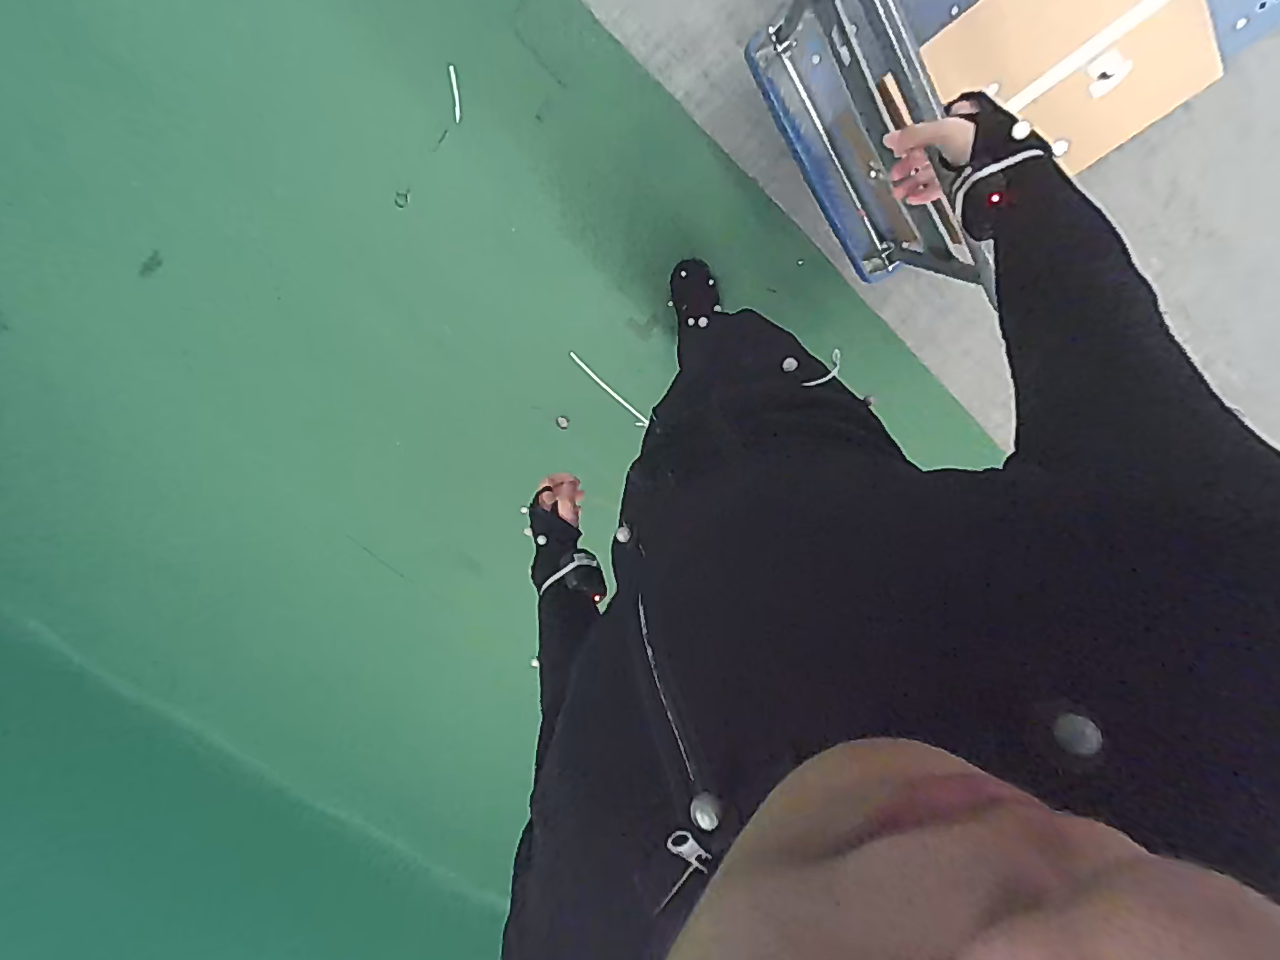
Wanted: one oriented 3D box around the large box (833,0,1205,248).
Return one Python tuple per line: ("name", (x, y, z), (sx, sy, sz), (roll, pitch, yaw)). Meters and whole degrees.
("large box", (0.637, -0.681, 0.987), (0.408, 0.320, 0.320), (-34, 108, 17))
